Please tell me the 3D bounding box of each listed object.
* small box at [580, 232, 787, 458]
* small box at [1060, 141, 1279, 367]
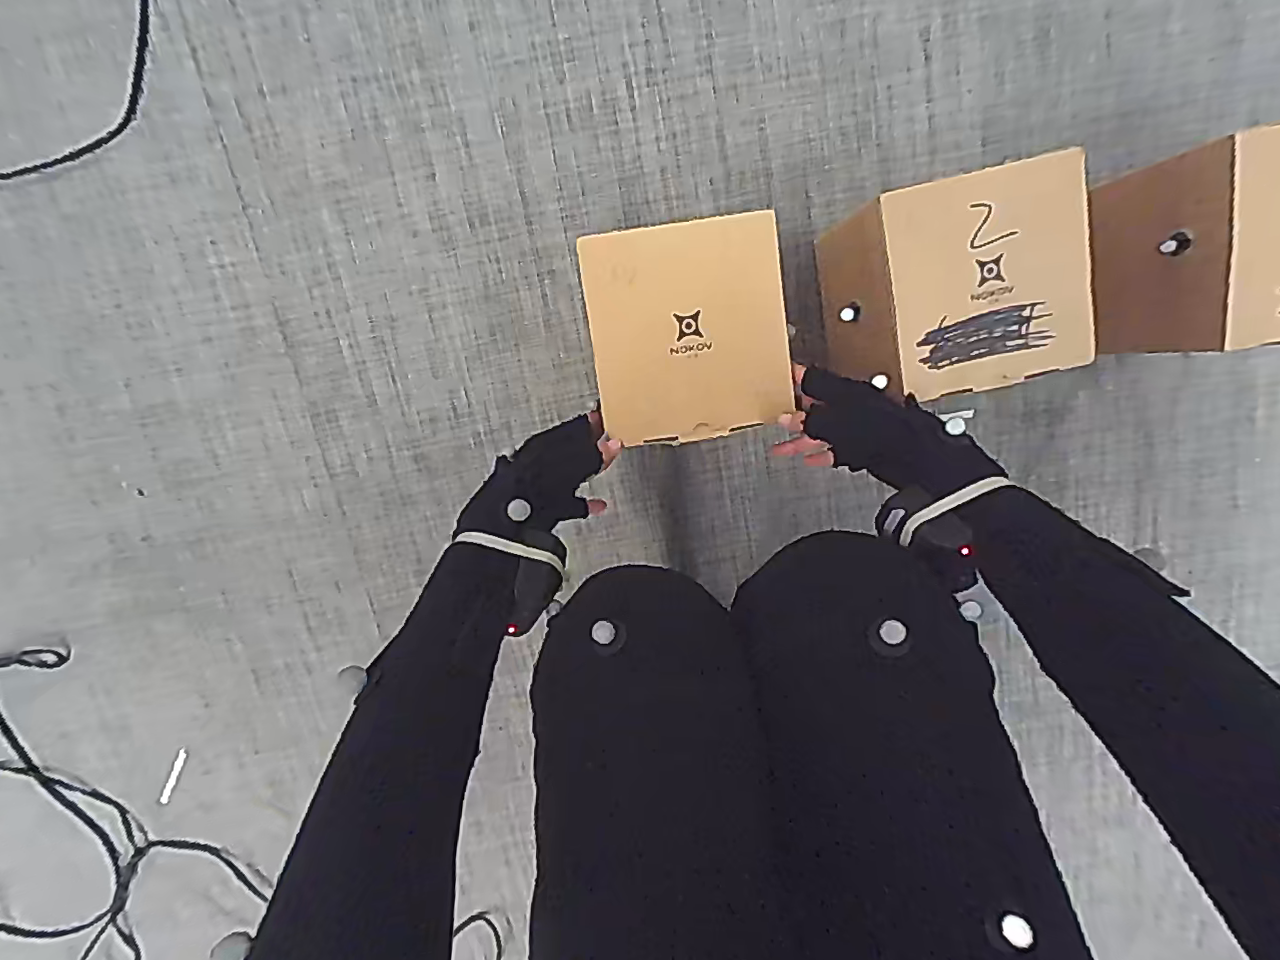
[{"bbox_3d":[0.037,-0.124,0.546,0.168,0.176,0.179,-8,98,1],"label":"small box"},{"bbox_3d":[0.558,-0.213,0.536,0.168,0.176,0.179,-10,102,2],"label":"small box"}]
